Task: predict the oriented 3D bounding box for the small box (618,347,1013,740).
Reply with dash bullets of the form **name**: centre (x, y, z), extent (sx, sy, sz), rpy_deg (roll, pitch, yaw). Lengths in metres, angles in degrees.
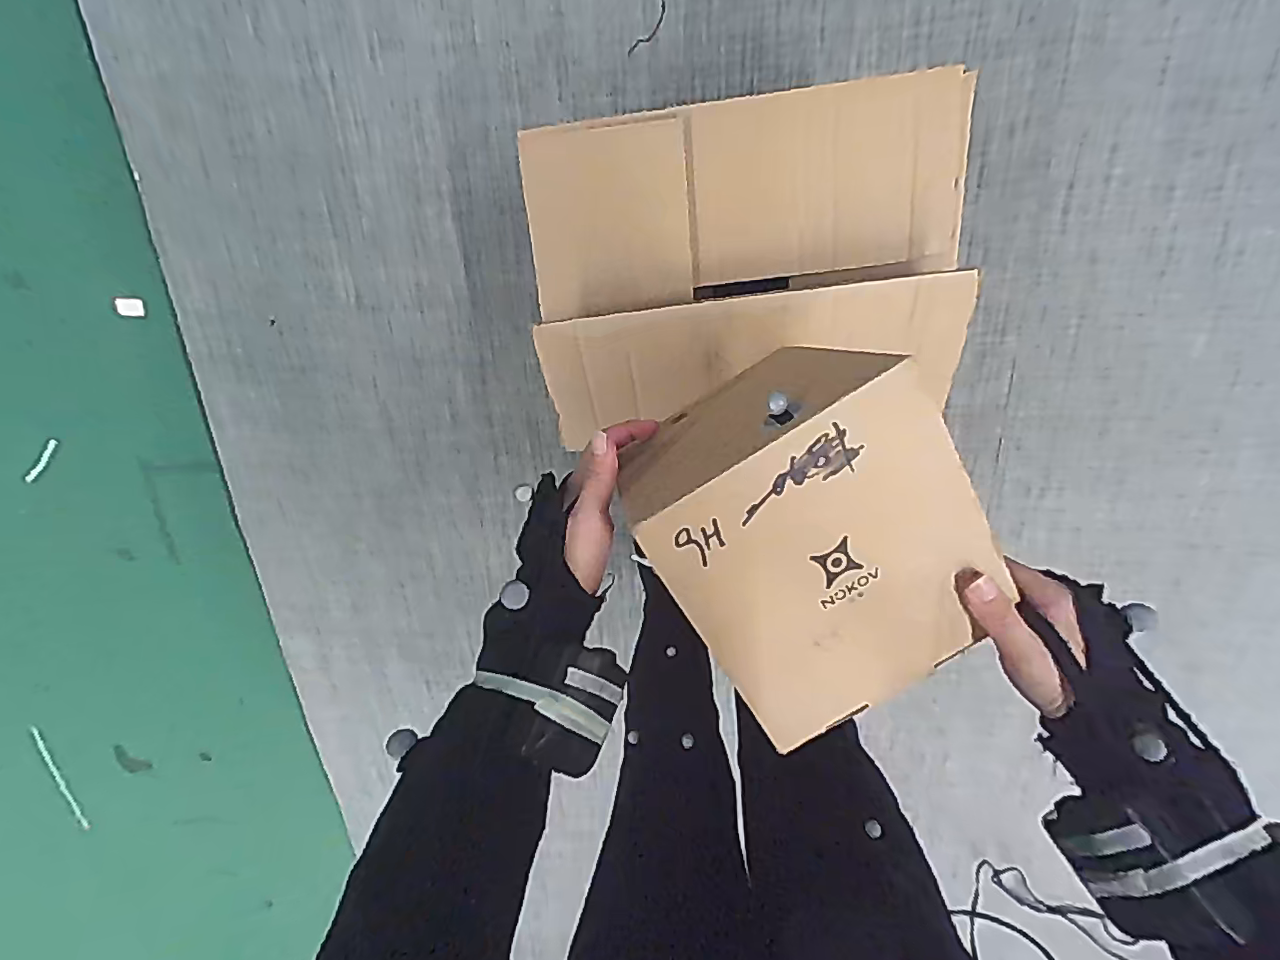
- **small box**: centre (0.099, 0.025, 0.371), extent (0.168, 0.176, 0.179), rpy_deg (-31, 108, 3)
